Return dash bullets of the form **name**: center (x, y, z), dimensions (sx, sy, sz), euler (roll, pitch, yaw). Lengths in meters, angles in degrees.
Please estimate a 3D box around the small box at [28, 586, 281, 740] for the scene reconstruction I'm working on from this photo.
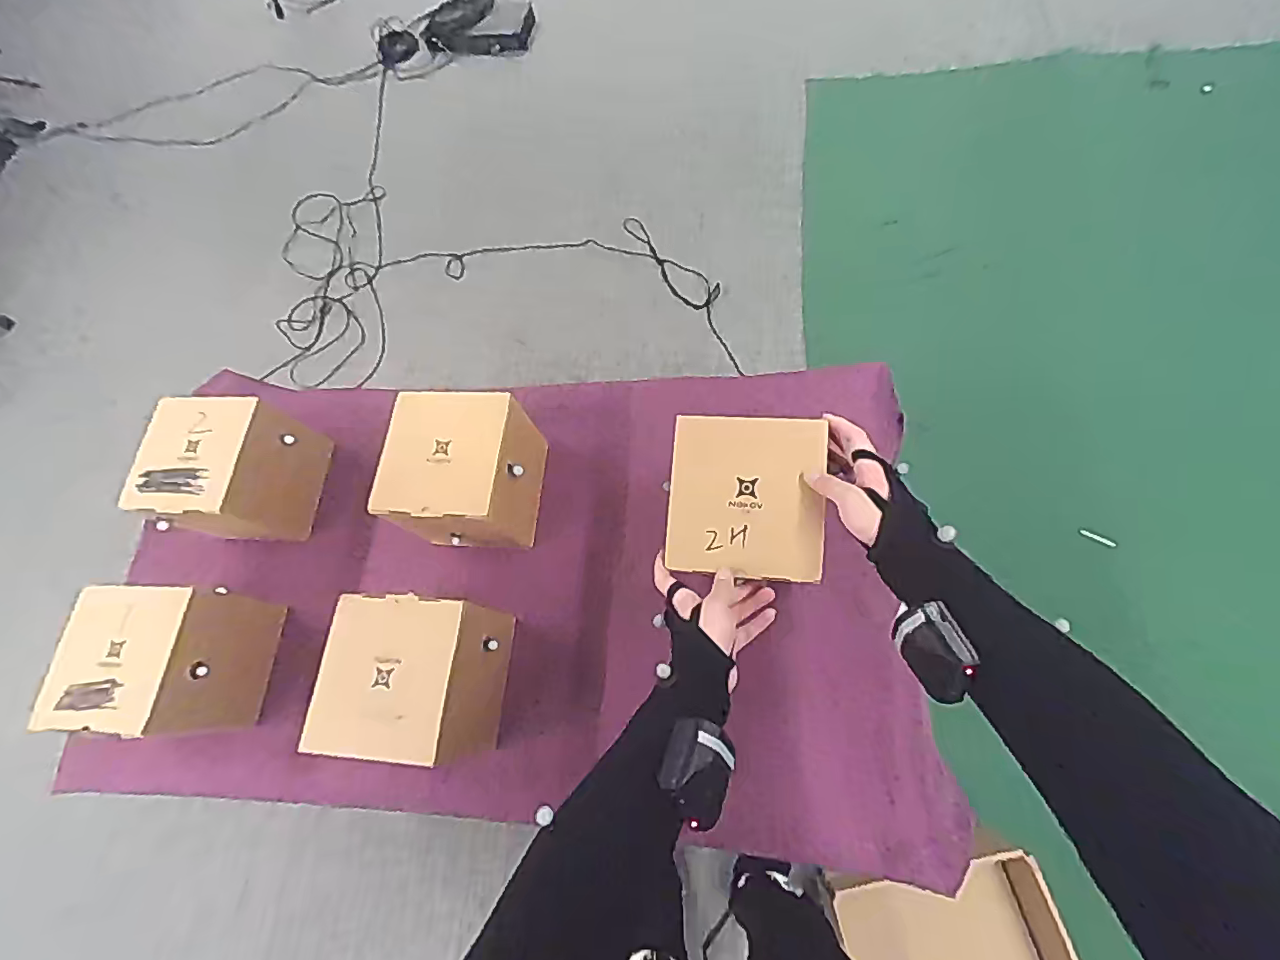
- **small box**: center (-0.636, 0.247, 0.736), dimensions (0.168, 0.176, 0.179), euler (-1, 68, 9)

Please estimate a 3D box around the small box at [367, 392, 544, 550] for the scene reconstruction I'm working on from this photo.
- **small box**: center (-0.246, -0.008, 0.770), dimensions (0.168, 0.176, 0.179), euler (2, 71, 10)

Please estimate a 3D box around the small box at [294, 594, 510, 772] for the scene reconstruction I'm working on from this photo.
- **small box**: center (-0.277, 0.249, 0.678), dimensions (0.168, 0.176, 0.179), euler (1, 69, 11)

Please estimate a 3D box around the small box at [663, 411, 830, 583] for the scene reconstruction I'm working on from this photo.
- **small box**: center (0.128, 0.026, 0.647), dimensions (0.168, 0.176, 0.179), euler (3, 82, 14)
